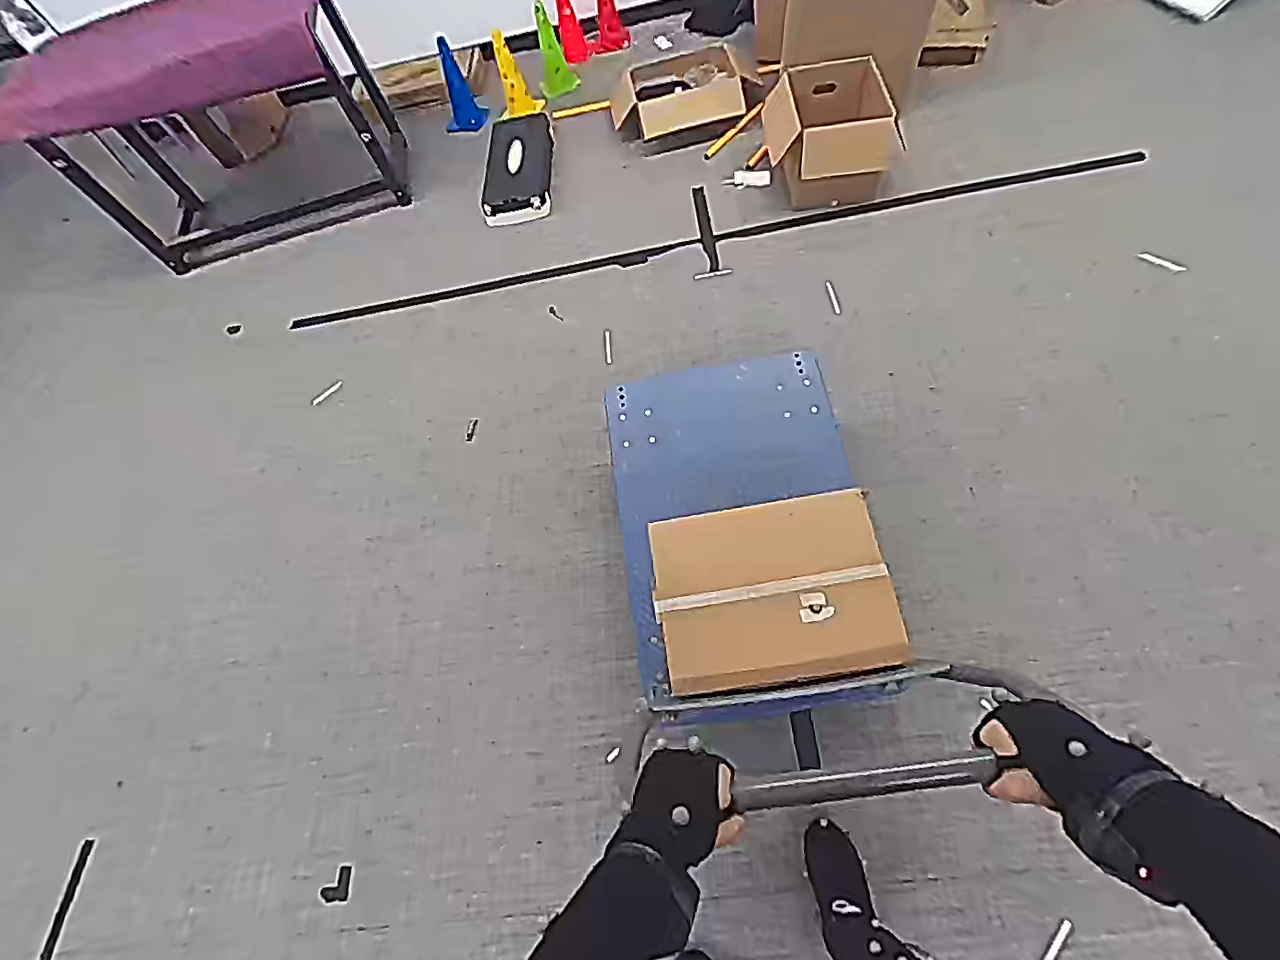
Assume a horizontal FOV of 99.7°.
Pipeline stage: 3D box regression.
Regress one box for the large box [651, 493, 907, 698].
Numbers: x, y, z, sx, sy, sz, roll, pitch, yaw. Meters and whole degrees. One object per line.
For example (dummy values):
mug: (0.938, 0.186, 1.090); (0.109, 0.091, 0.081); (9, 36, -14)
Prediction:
large box: (0.254, 0.252, 1.117); (0.408, 0.320, 0.320); (-10, 70, 3)
